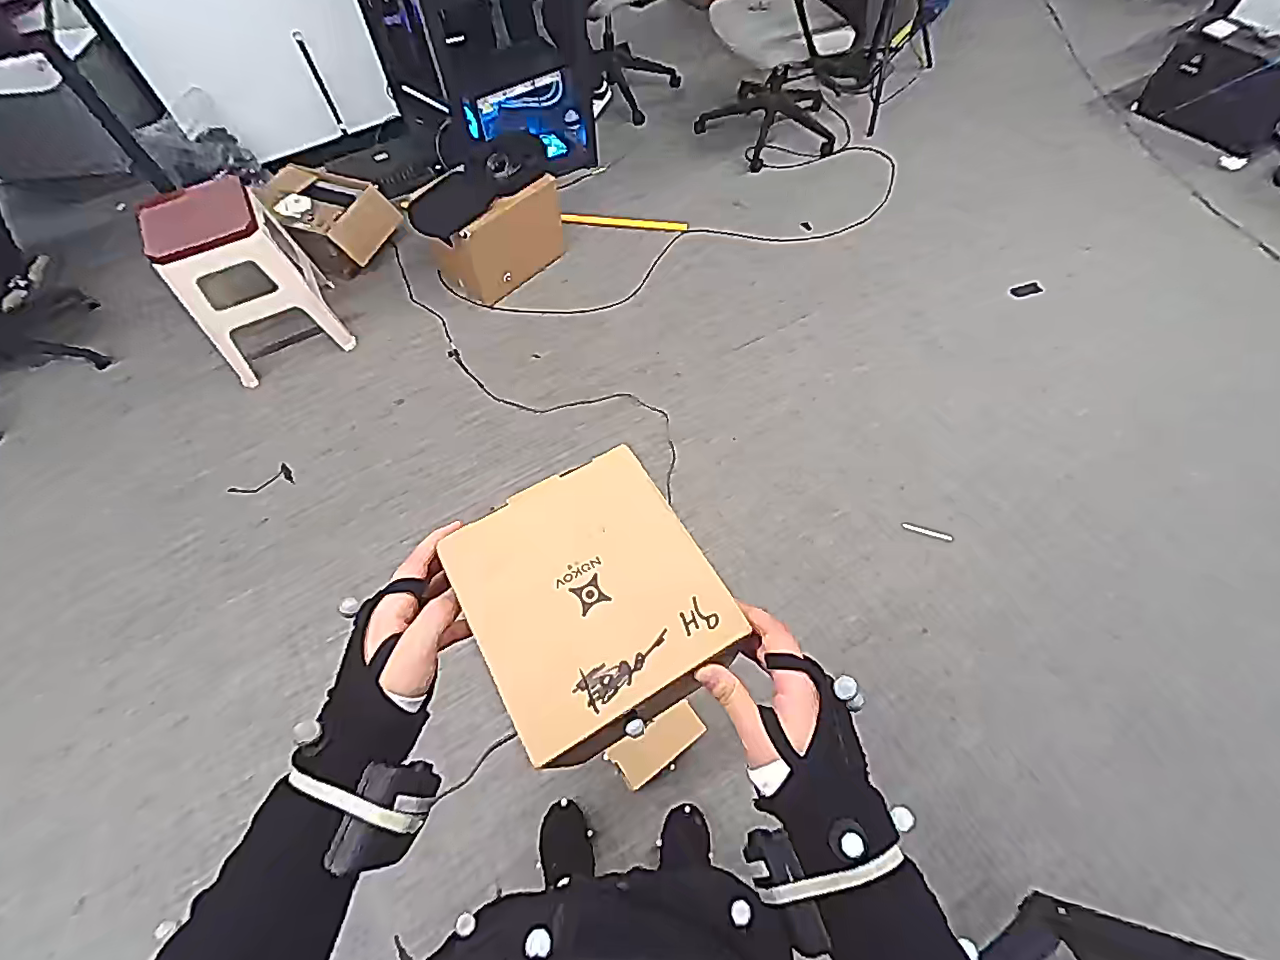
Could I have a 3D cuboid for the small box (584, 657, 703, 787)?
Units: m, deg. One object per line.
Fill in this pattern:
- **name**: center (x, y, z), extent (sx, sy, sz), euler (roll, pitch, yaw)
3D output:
- **small box**: center (0.007, 0.497, 1.106), extent (0.179, 0.176, 0.168), euler (-34, 68, -18)
